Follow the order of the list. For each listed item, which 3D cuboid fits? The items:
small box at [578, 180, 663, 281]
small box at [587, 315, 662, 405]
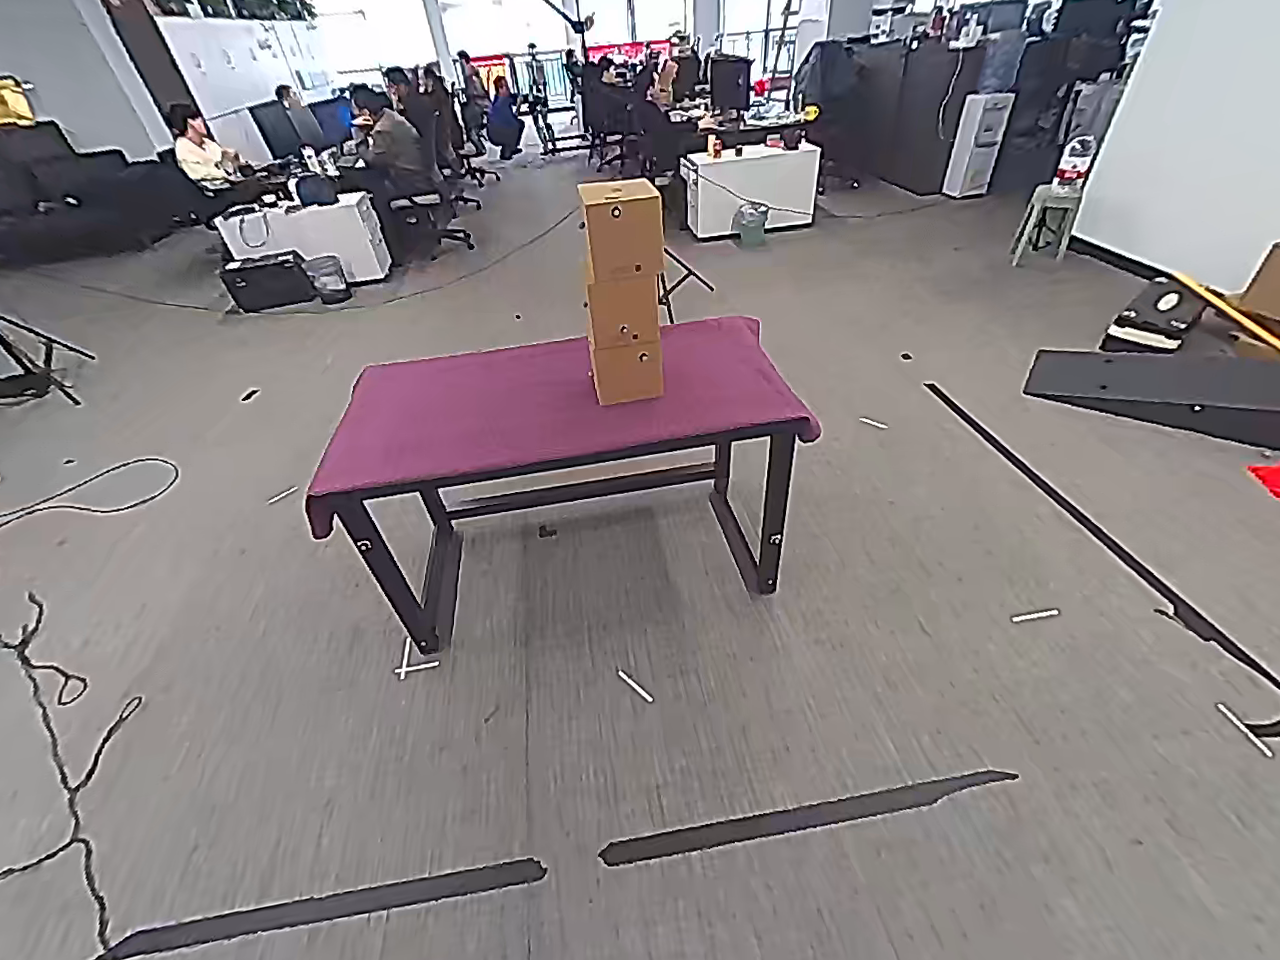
[{"bbox_3d":[-0.046,-0.576,1.248,0.168,0.176,0.179,-10,40,-5],"label":"small box"},{"bbox_3d":[-0.040,-0.324,1.459,0.179,0.176,0.168,-11,40,-5],"label":"small box"}]
